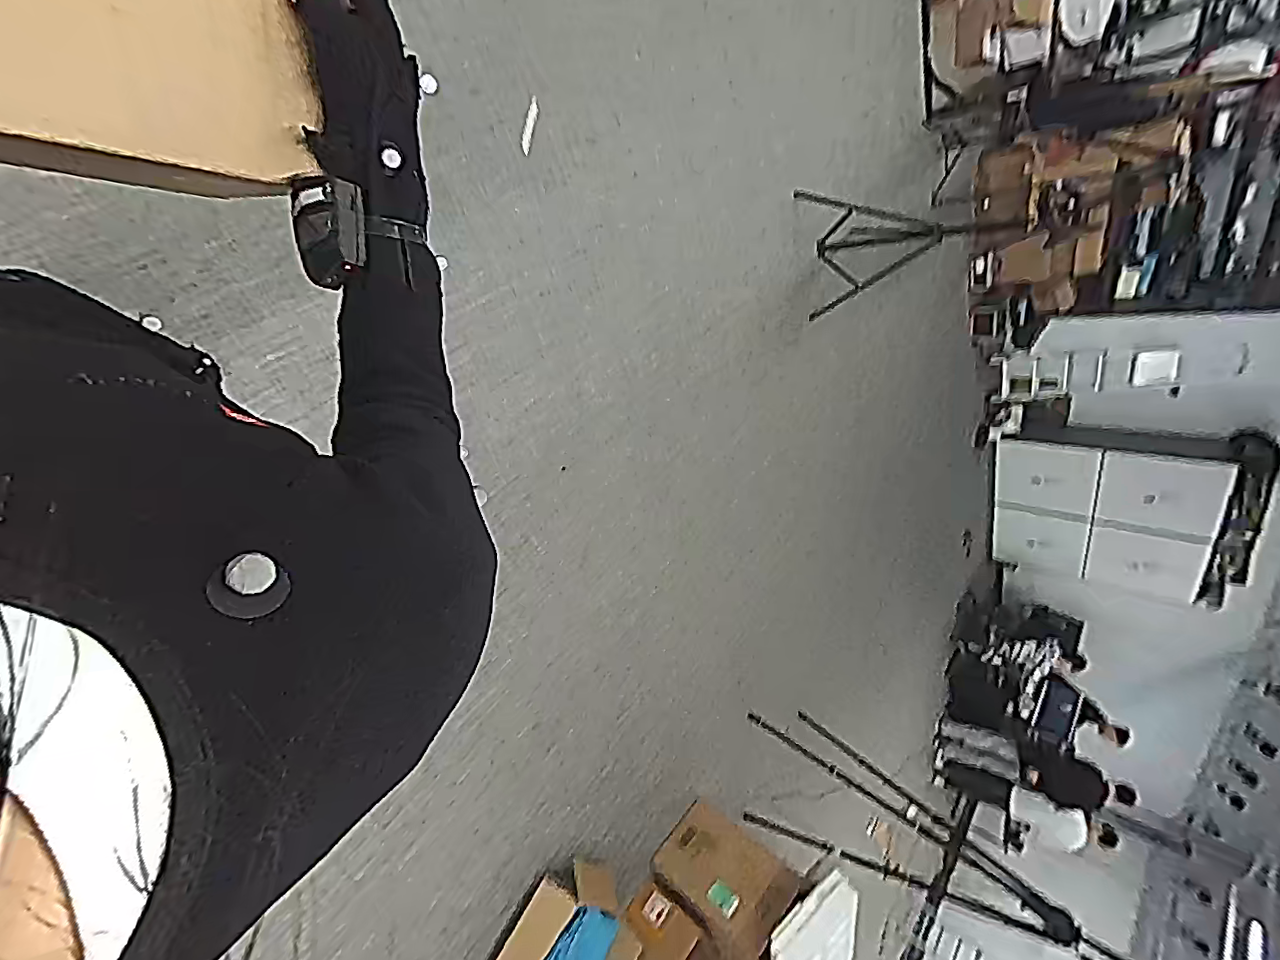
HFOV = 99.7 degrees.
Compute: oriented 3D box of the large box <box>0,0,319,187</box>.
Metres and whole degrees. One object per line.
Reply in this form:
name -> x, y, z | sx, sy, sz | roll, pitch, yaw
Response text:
large box -> -0.472, -0.375, 0.307 | 0.408, 0.320, 0.320 | -16, 121, -46
